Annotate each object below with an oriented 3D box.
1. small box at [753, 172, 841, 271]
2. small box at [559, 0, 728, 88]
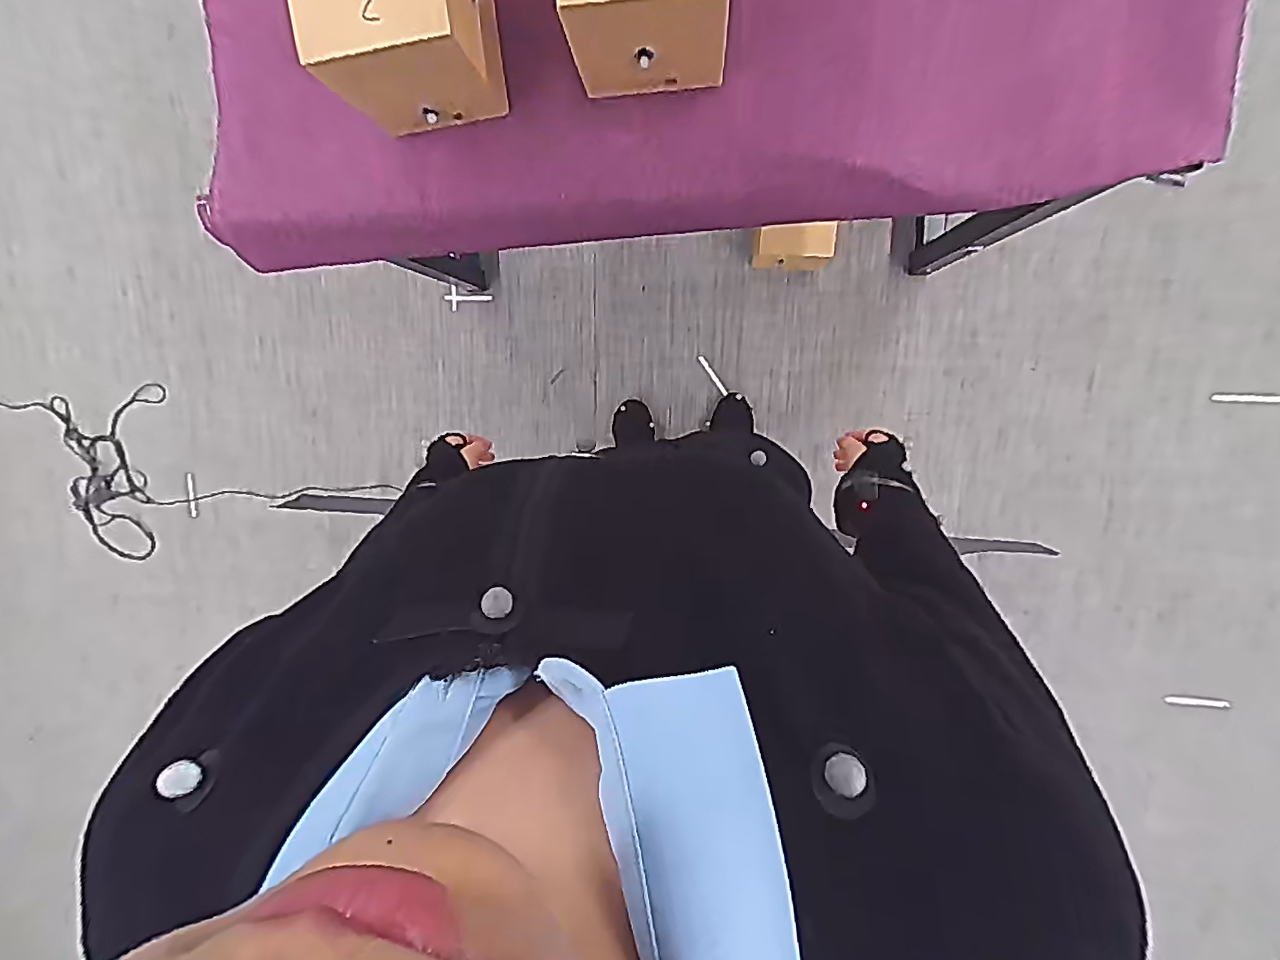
[{"bbox_3d":[0.361,-0.600,1.273,0.168,0.176,0.179,5,100,6],"label":"small box"},{"bbox_3d":[0.010,-0.549,0.572,0.168,0.176,0.179,-1,99,5],"label":"small box"}]
